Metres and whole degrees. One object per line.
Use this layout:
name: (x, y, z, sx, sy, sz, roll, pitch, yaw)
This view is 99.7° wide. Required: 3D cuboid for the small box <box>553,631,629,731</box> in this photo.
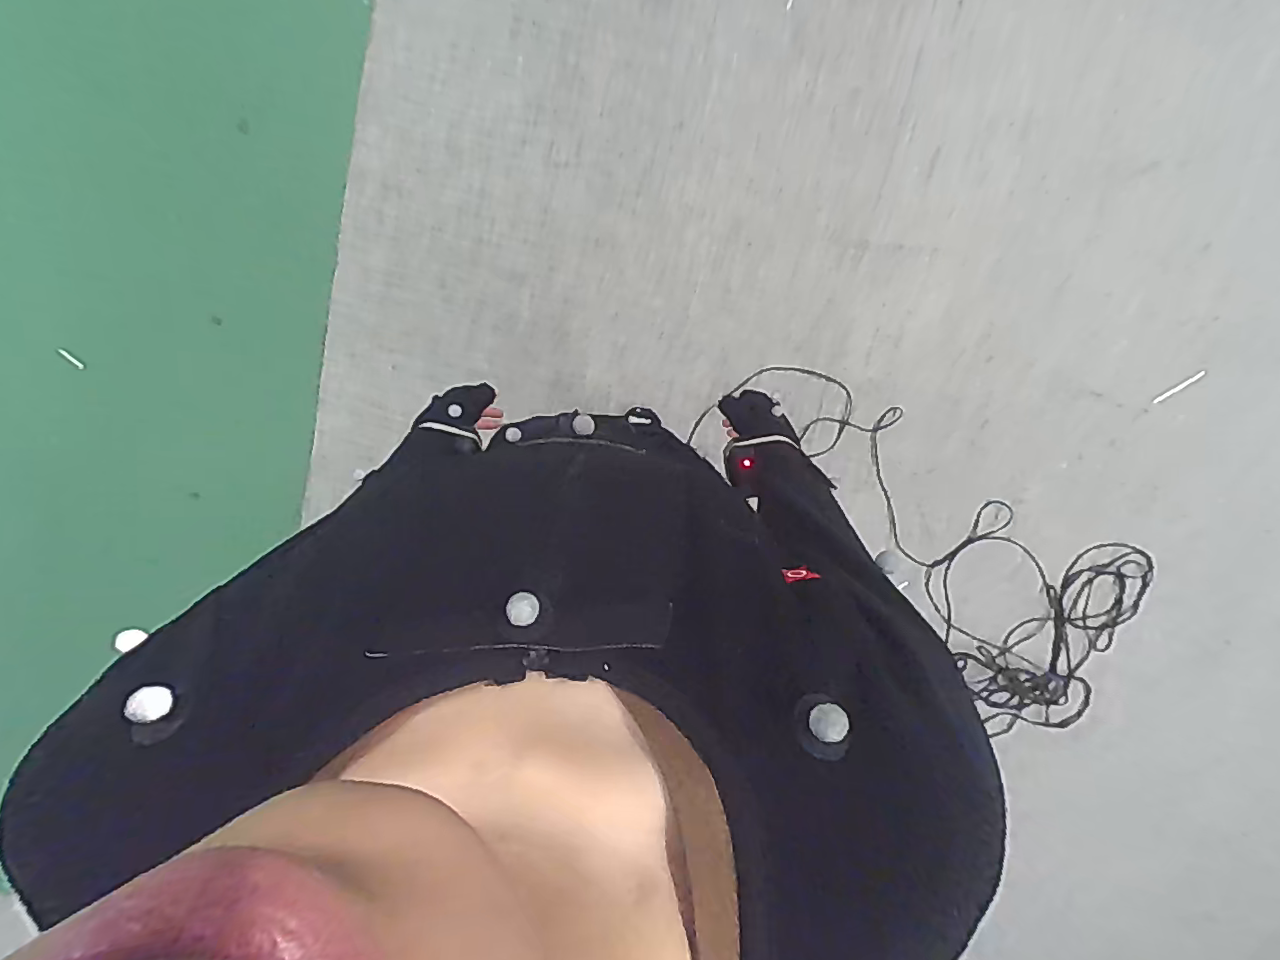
small box: (-0.128, 0.547, 1.488, 0.168, 0.176, 0.179, 14, 98, 0)
